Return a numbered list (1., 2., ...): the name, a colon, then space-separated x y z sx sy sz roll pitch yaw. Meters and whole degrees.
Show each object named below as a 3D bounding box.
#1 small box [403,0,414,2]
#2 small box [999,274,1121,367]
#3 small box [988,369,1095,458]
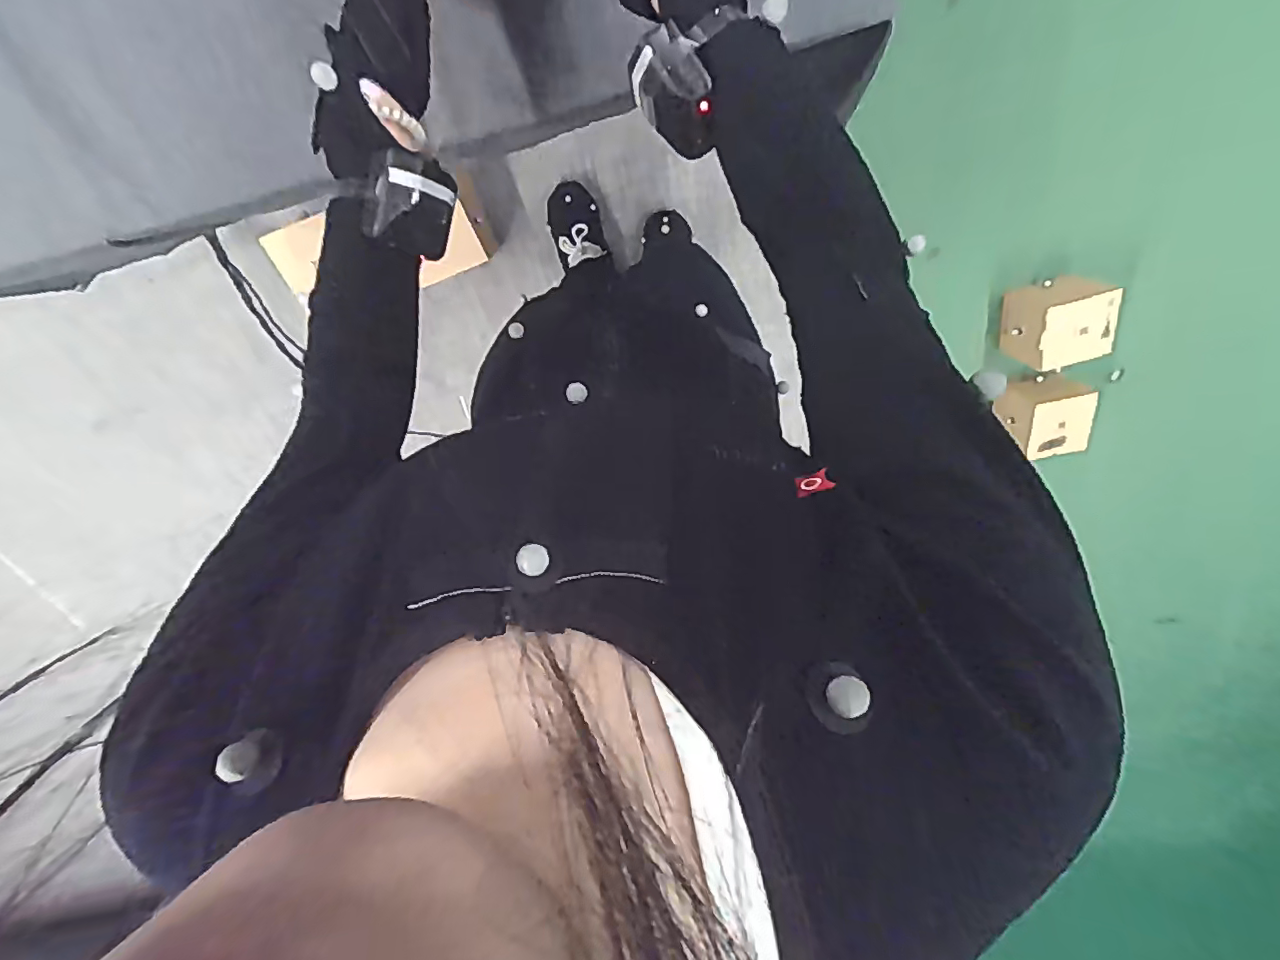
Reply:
1. small box: -0.126 -0.464 0.364 0.168 0.176 0.179 -17 133 9
2. small box: 1.054 -0.408 1.376 0.179 0.176 0.168 -14 122 5
3. small box: 1.113 -0.189 1.517 0.168 0.176 0.179 -11 122 3
